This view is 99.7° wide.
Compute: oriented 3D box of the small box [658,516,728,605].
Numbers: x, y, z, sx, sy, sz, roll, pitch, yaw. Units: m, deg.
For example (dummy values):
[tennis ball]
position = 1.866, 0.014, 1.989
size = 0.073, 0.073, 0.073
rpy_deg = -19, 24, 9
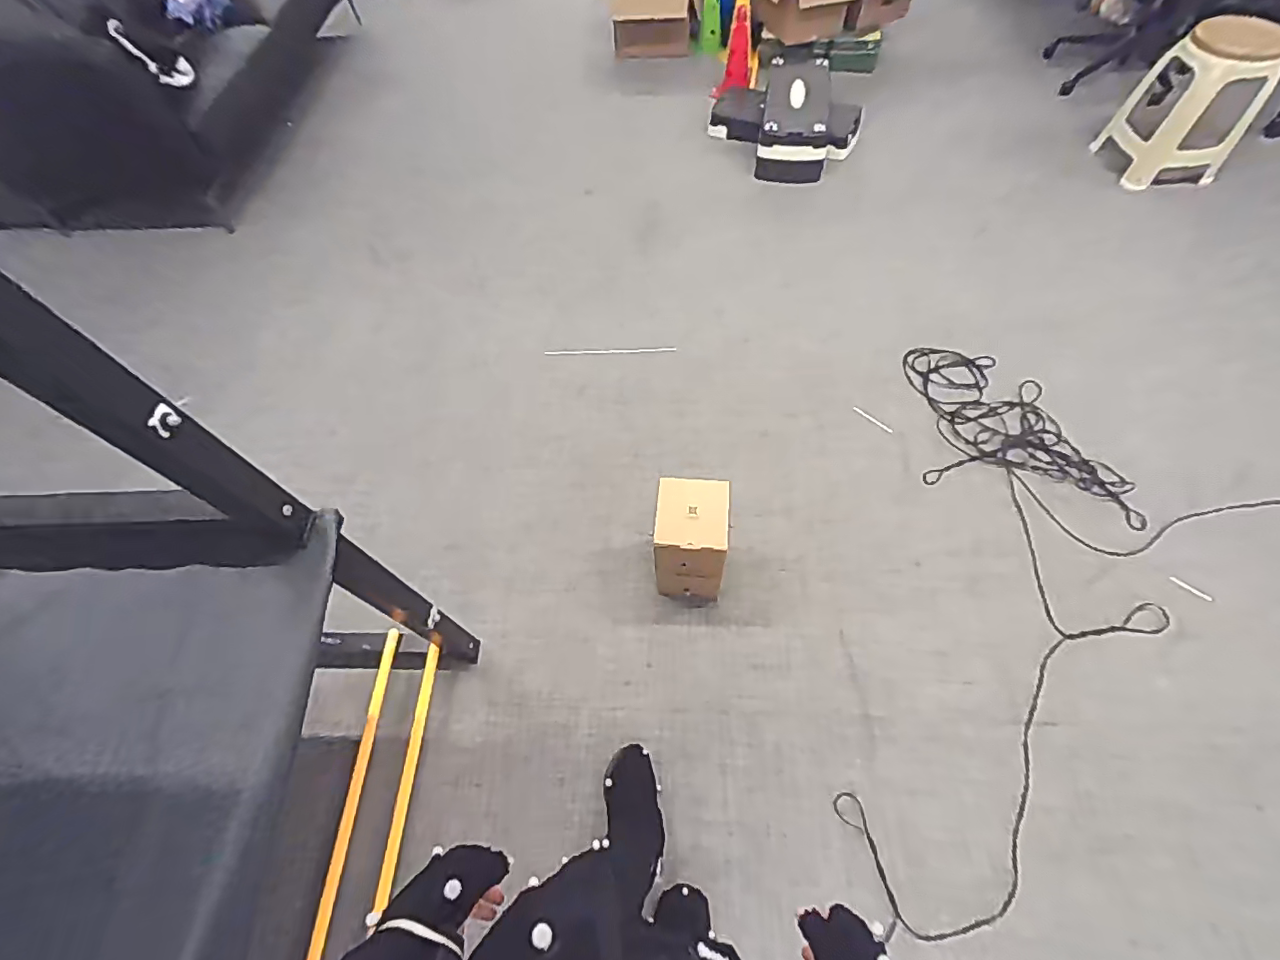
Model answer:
[small box]
position = 0.141, 0.215, 1.440
size = 0.168, 0.176, 0.179
rpy_deg = 4, 60, 8
